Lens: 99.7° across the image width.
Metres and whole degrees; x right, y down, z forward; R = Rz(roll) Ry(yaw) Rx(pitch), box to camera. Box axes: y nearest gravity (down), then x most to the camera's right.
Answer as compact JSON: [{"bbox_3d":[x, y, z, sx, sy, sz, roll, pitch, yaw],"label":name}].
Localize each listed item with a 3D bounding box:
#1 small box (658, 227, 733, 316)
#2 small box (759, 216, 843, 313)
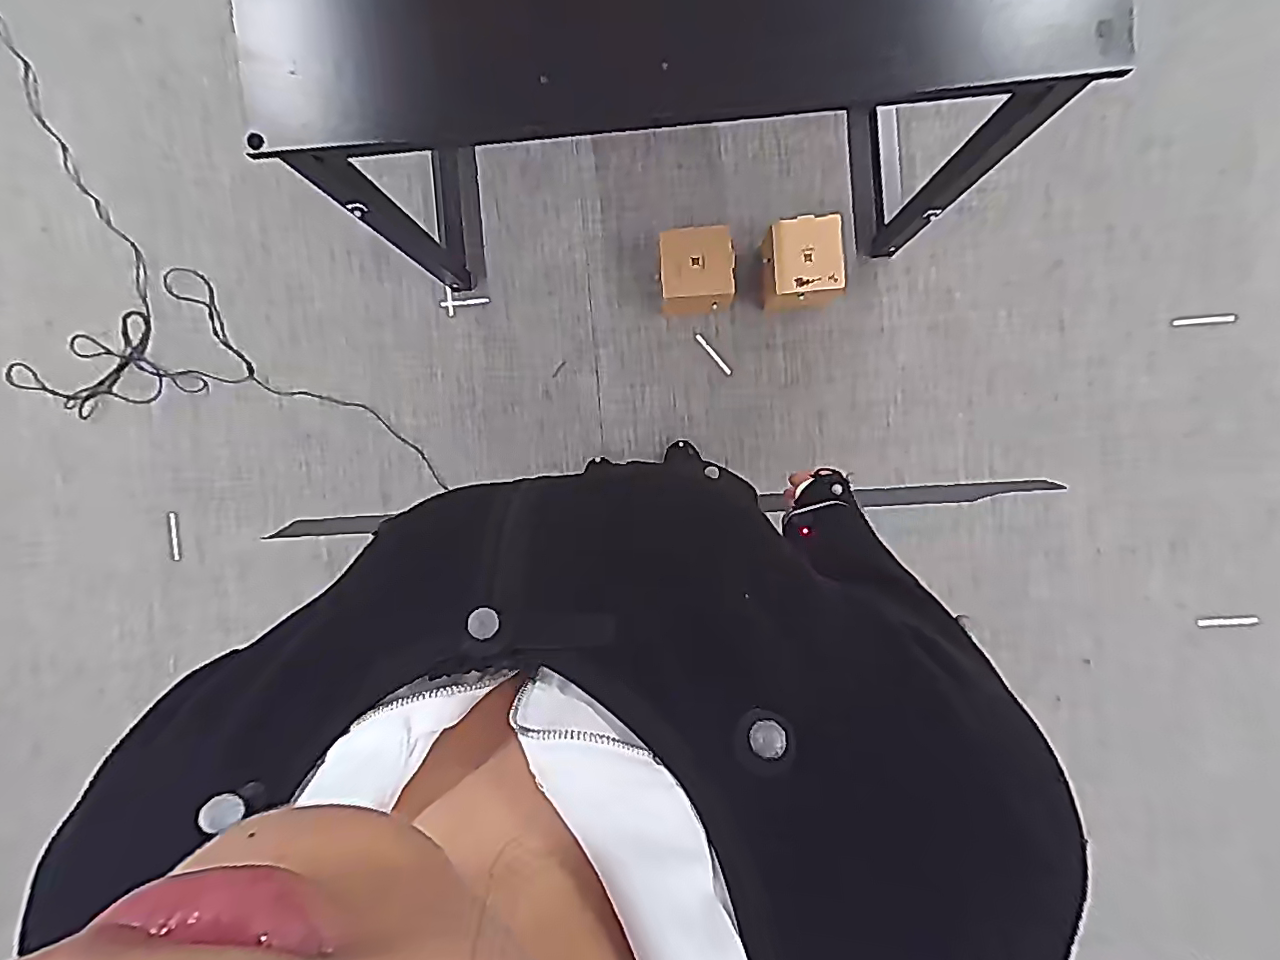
[{"bbox_3d":[0.138,-0.526,1.384,0.179,0.176,0.168,-4,92,4],"label":"small box"},{"bbox_3d":[0.400,-0.539,1.369,0.168,0.176,0.179,-5,92,4],"label":"small box"}]
